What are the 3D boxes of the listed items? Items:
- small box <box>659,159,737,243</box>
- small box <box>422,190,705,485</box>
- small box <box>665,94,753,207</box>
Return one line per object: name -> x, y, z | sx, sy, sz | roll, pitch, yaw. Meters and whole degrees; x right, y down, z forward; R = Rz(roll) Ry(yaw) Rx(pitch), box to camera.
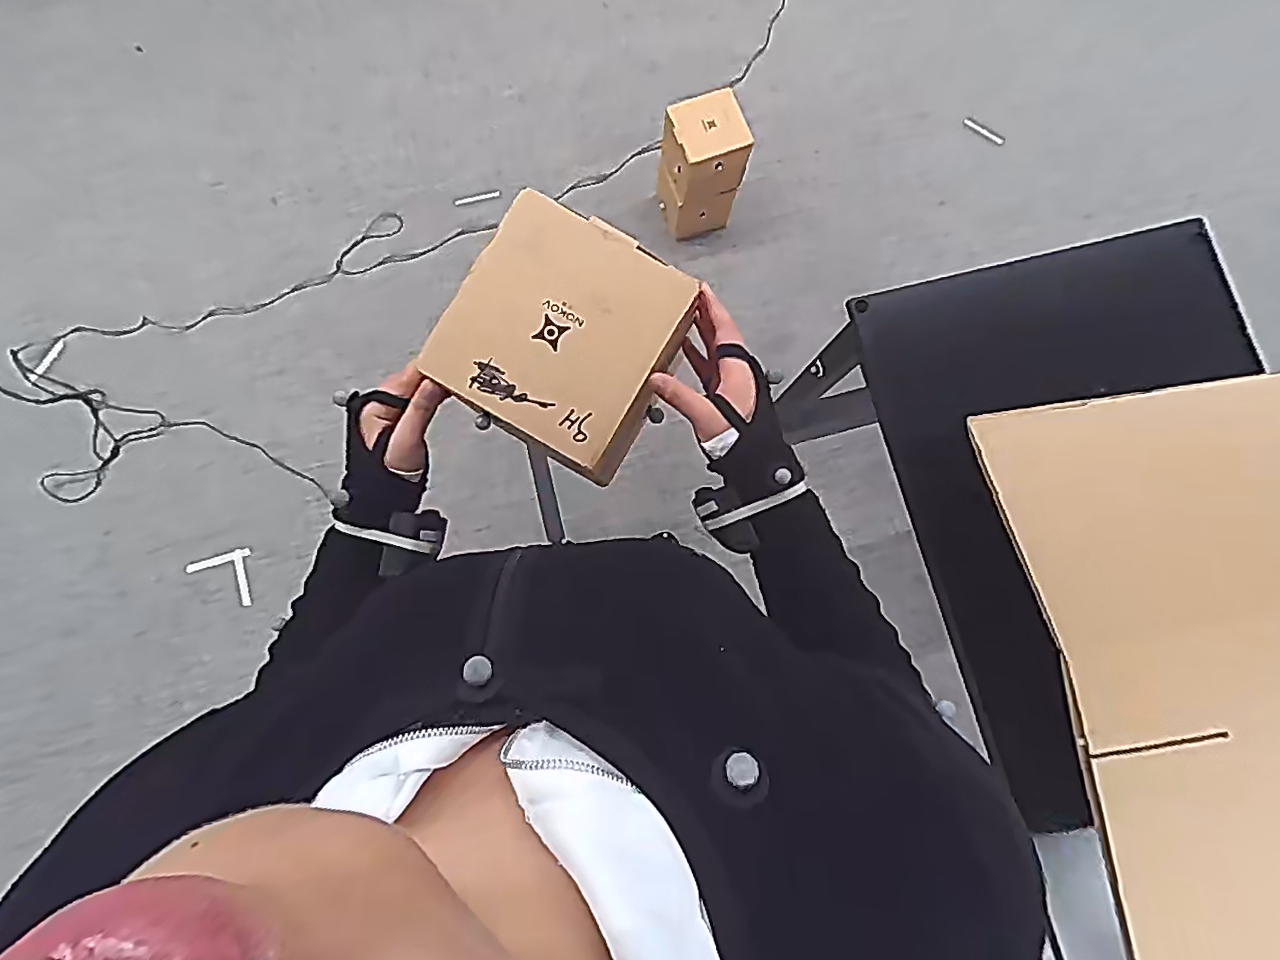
small box -> 0.162, -0.831, 1.584 | 0.179, 0.176, 0.168 | -18, 82, -3
small box -> -0.060, -0.114, 0.505 | 0.168, 0.176, 0.179 | 30, 84, 5
small box -> 0.171, -0.858, 1.425 | 0.179, 0.176, 0.168 | -21, 83, -6
